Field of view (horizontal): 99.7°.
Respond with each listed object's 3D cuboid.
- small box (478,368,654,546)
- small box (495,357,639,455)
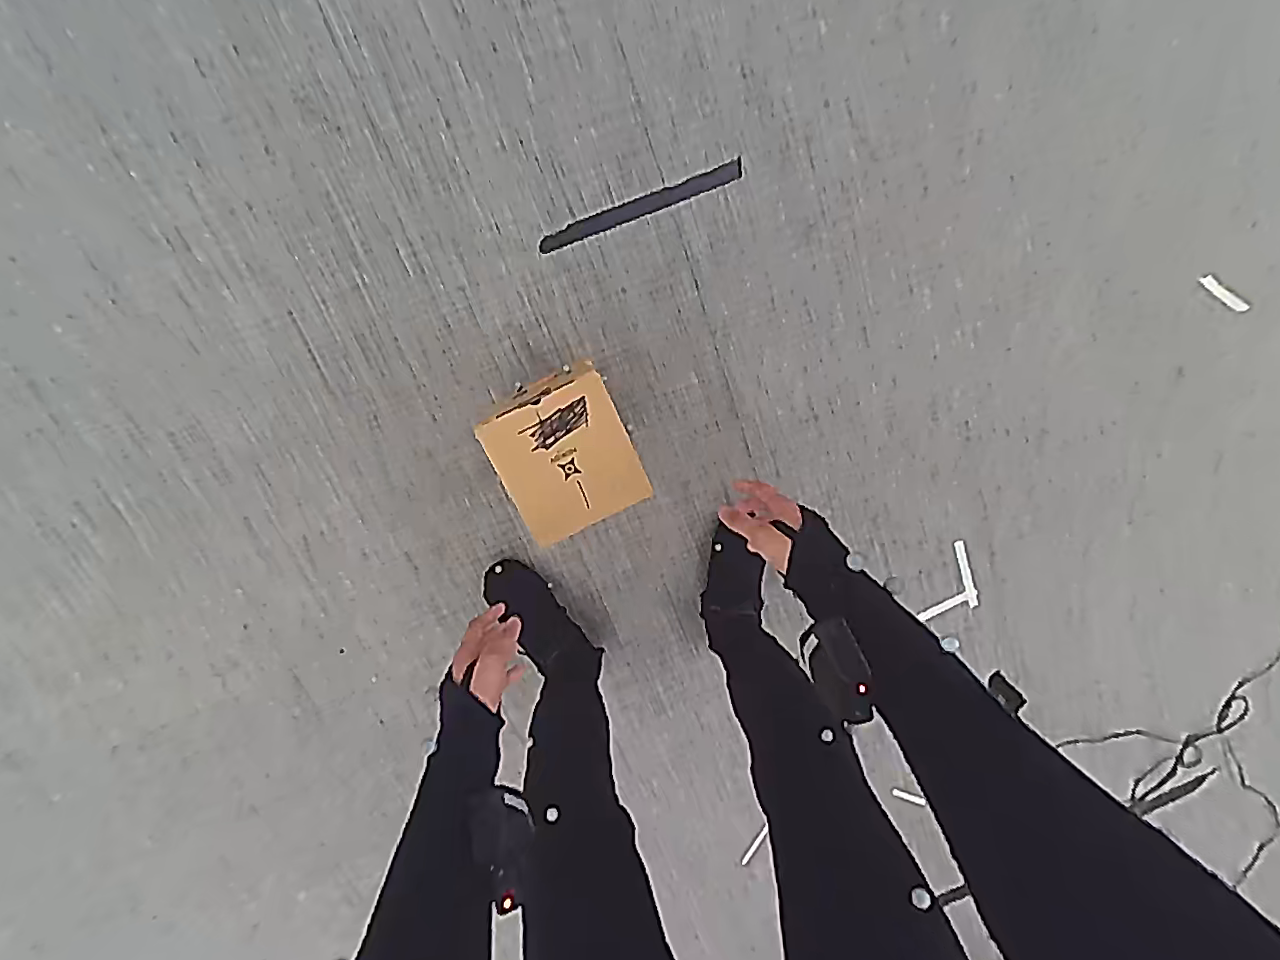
[{"bbox_3d":[-0.100,-0.043,0.742,0.168,0.176,0.179,-26,108,-2],"label":"small box"},{"bbox_3d":[-0.121,-0.090,0.897,0.168,0.176,0.179,-27,107,-1],"label":"small box"}]
